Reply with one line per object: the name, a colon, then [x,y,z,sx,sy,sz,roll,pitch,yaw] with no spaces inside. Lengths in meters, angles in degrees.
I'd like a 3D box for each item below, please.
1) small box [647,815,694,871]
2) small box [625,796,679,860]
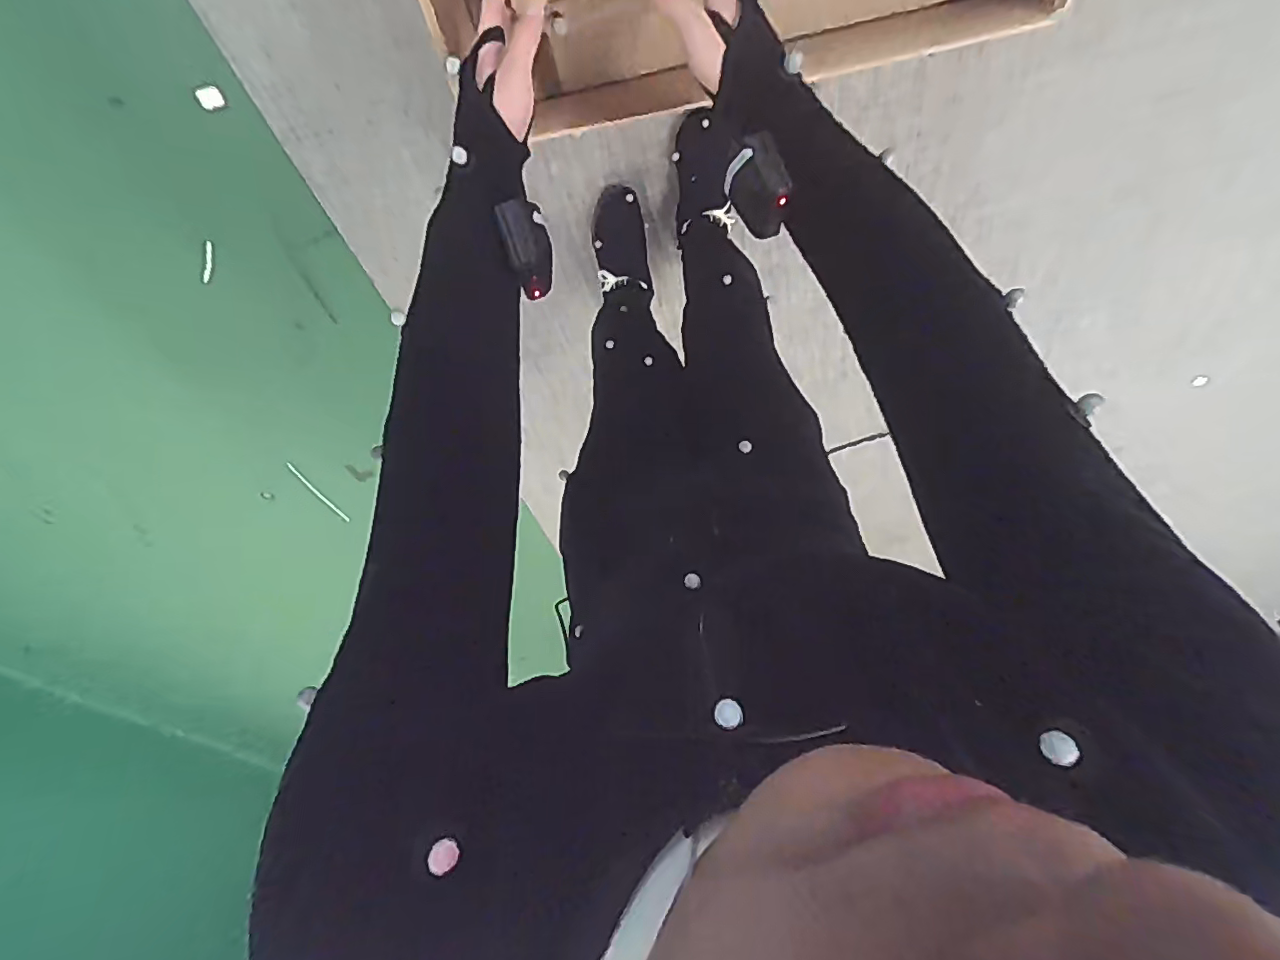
small box: [0.123,1.471,2.190,0.168,0.176,0.179,-11,136,9]
small box: [0.045,1.263,1.963,0.168,0.176,0.179,-11,136,9]
